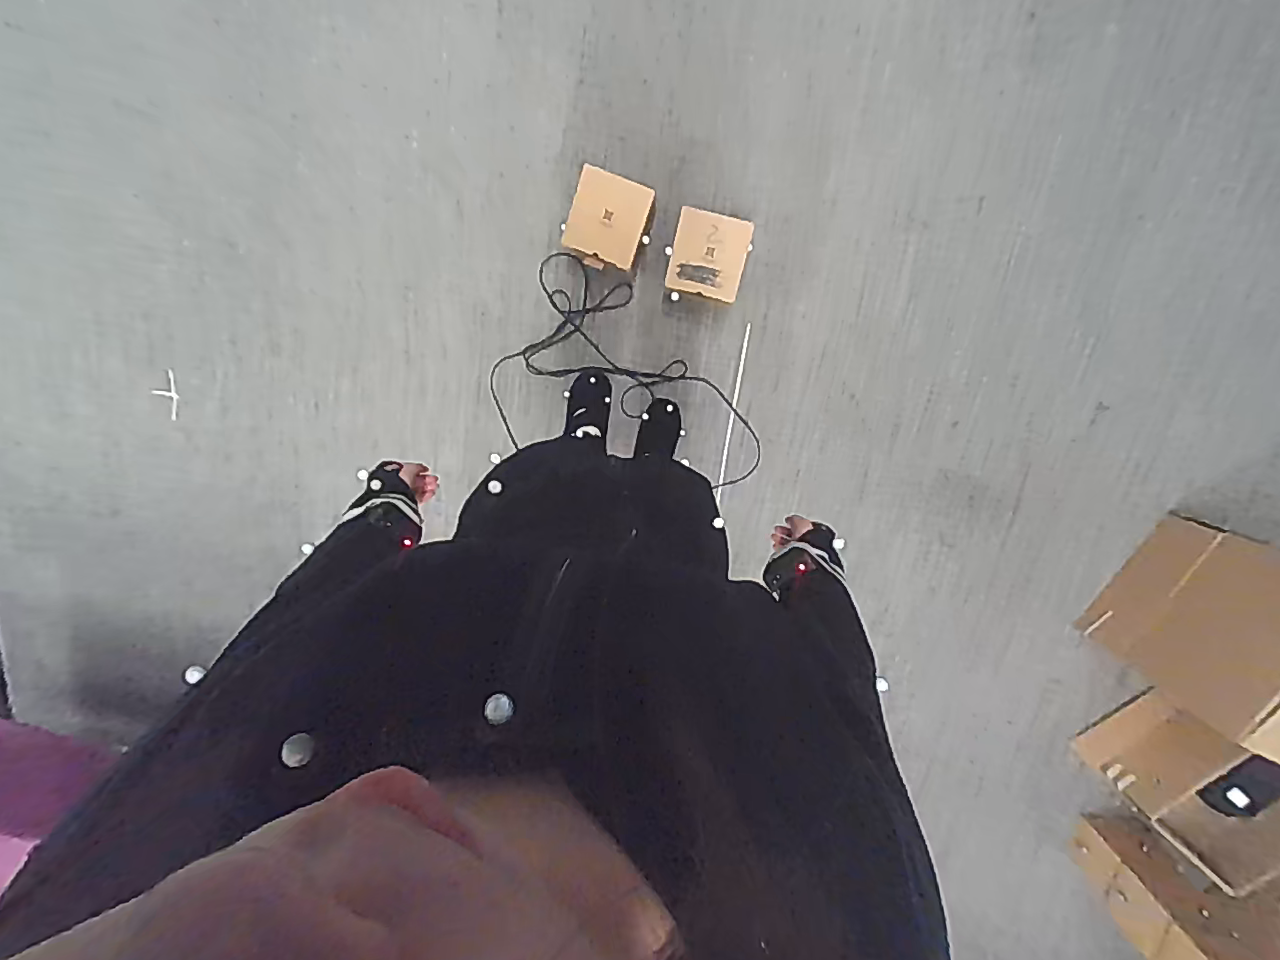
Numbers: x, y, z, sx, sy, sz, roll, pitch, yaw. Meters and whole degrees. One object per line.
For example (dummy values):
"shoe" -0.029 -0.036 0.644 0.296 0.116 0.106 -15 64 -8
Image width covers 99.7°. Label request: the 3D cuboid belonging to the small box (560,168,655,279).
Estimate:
"small box" -0.073 -0.591 1.270 0.168 0.176 0.179 20 105 -4
